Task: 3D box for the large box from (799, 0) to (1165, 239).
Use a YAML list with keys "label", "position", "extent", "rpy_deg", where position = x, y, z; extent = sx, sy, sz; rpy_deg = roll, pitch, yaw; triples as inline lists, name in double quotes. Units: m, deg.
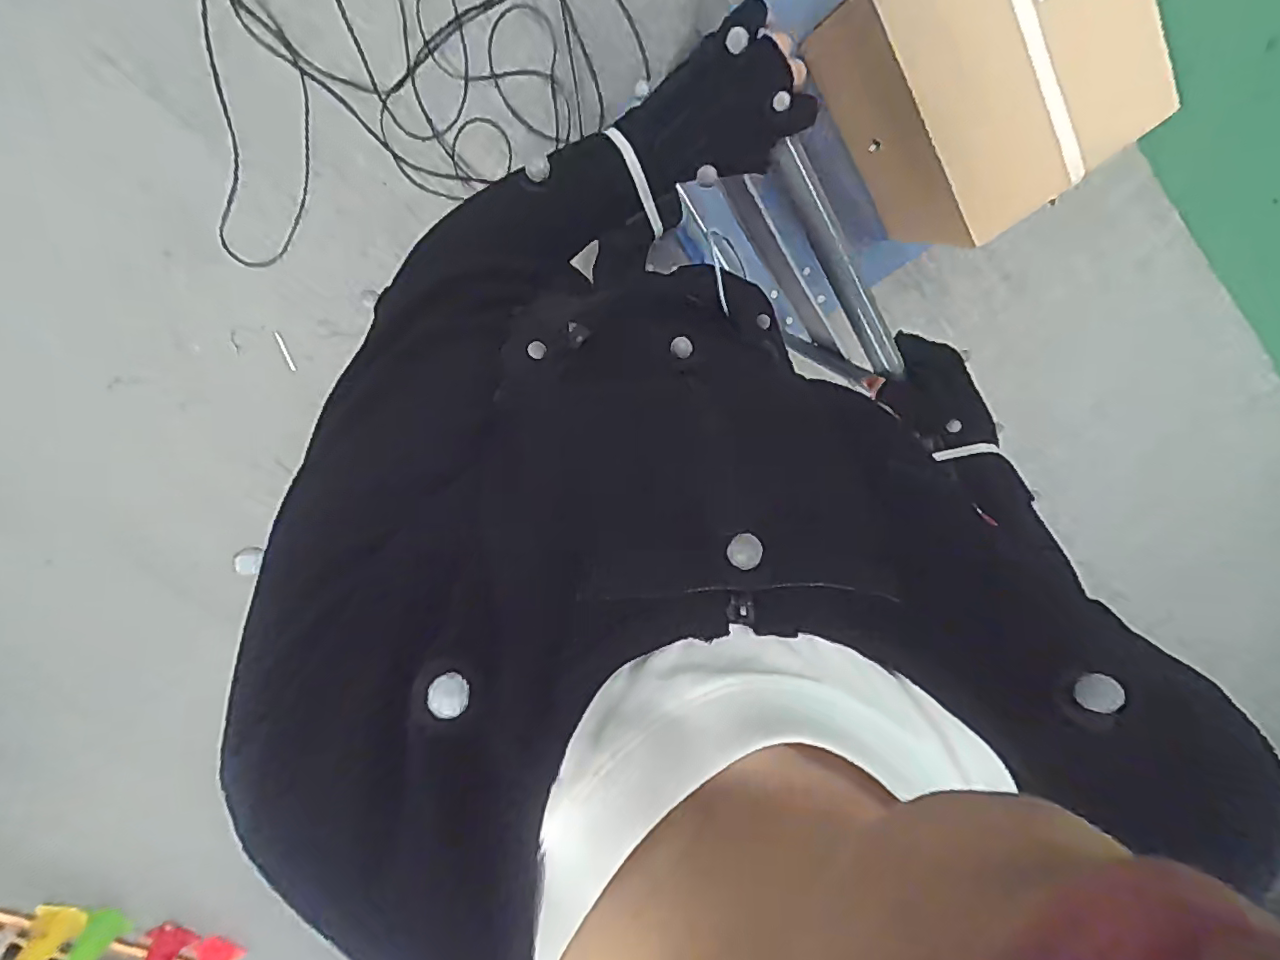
- label: "large box"
  position: [0.527, -0.671, 0.891]
  extent: [0.320, 0.320, 0.408]
  rpy_deg: [-35, 112, 14]
